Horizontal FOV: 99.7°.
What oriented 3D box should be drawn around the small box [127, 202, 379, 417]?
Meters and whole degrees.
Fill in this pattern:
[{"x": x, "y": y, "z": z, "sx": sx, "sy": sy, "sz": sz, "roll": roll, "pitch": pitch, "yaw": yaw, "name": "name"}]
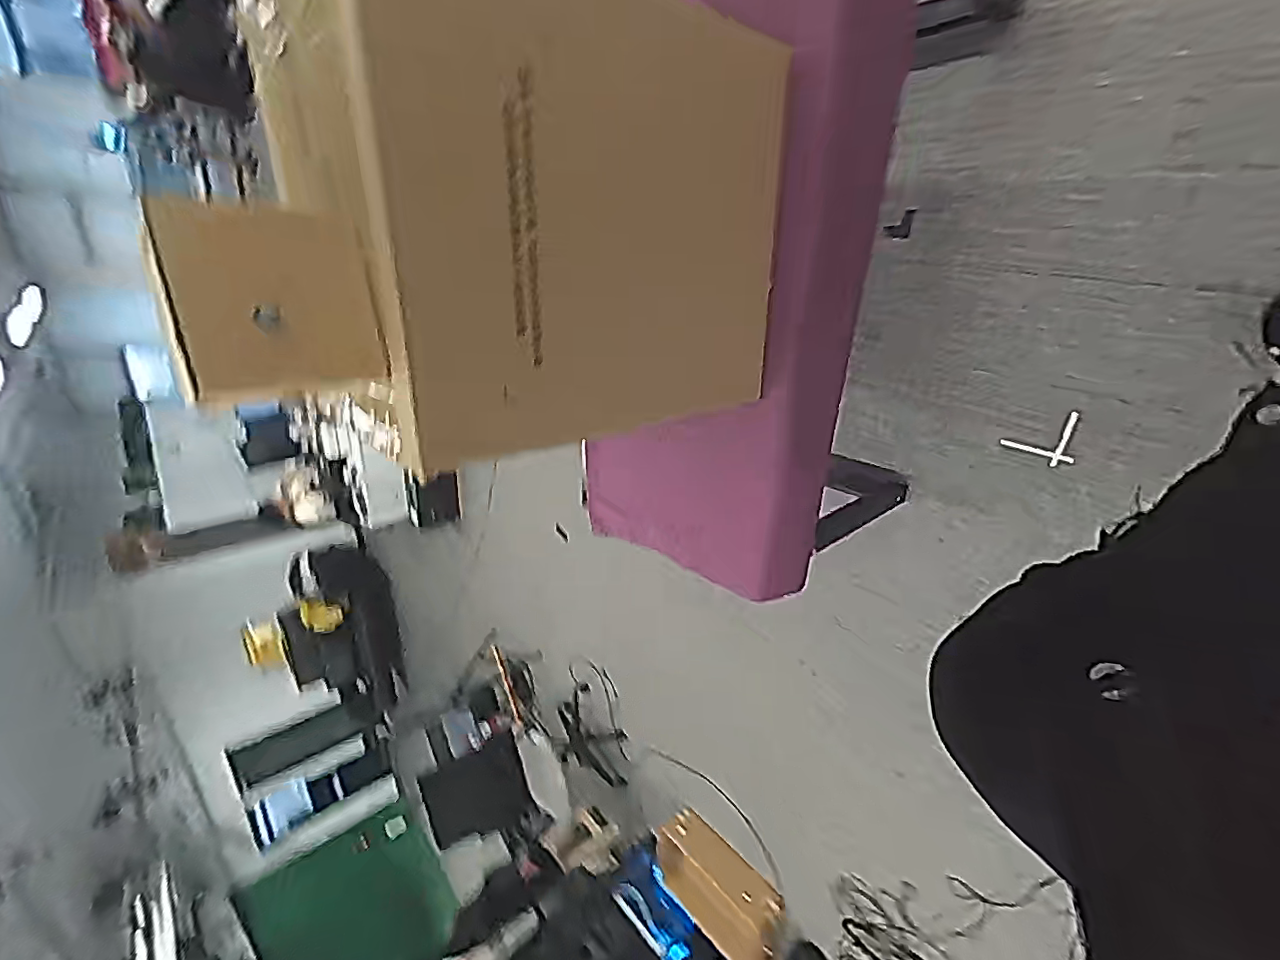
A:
[{"x": -0.397, "y": -0.171, "z": 0.570, "sx": 0.168, "sy": 0.176, "sz": 0.179, "roll": 2, "pitch": 106, "yaw": 48, "name": "small box"}]
